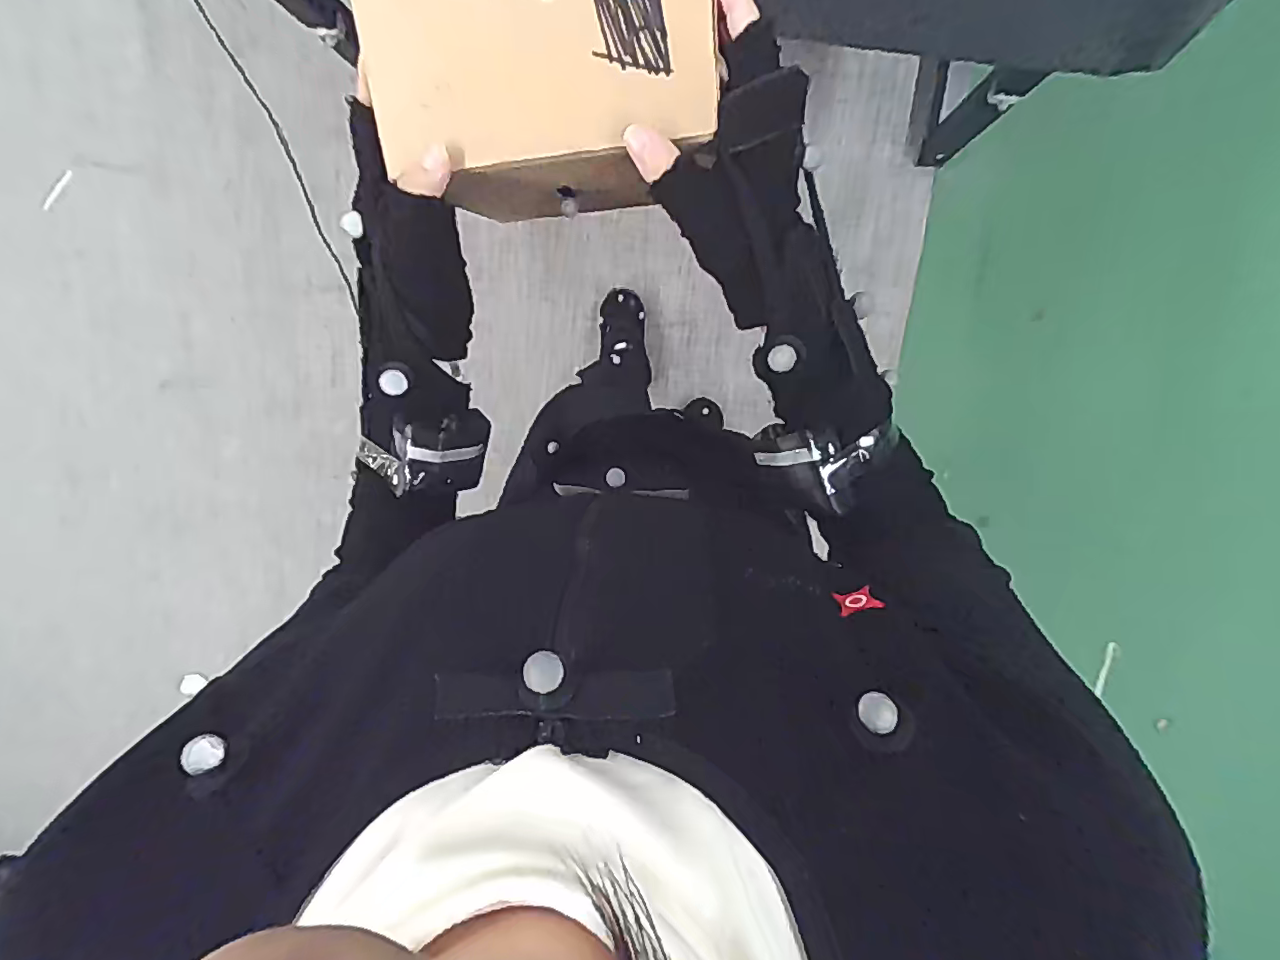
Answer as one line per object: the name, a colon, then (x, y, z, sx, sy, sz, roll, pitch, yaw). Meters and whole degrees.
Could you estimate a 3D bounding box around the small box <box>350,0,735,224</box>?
small box: (-0.045, -0.261, 0.320, 0.179, 0.176, 0.168, -7, 108, 8)
